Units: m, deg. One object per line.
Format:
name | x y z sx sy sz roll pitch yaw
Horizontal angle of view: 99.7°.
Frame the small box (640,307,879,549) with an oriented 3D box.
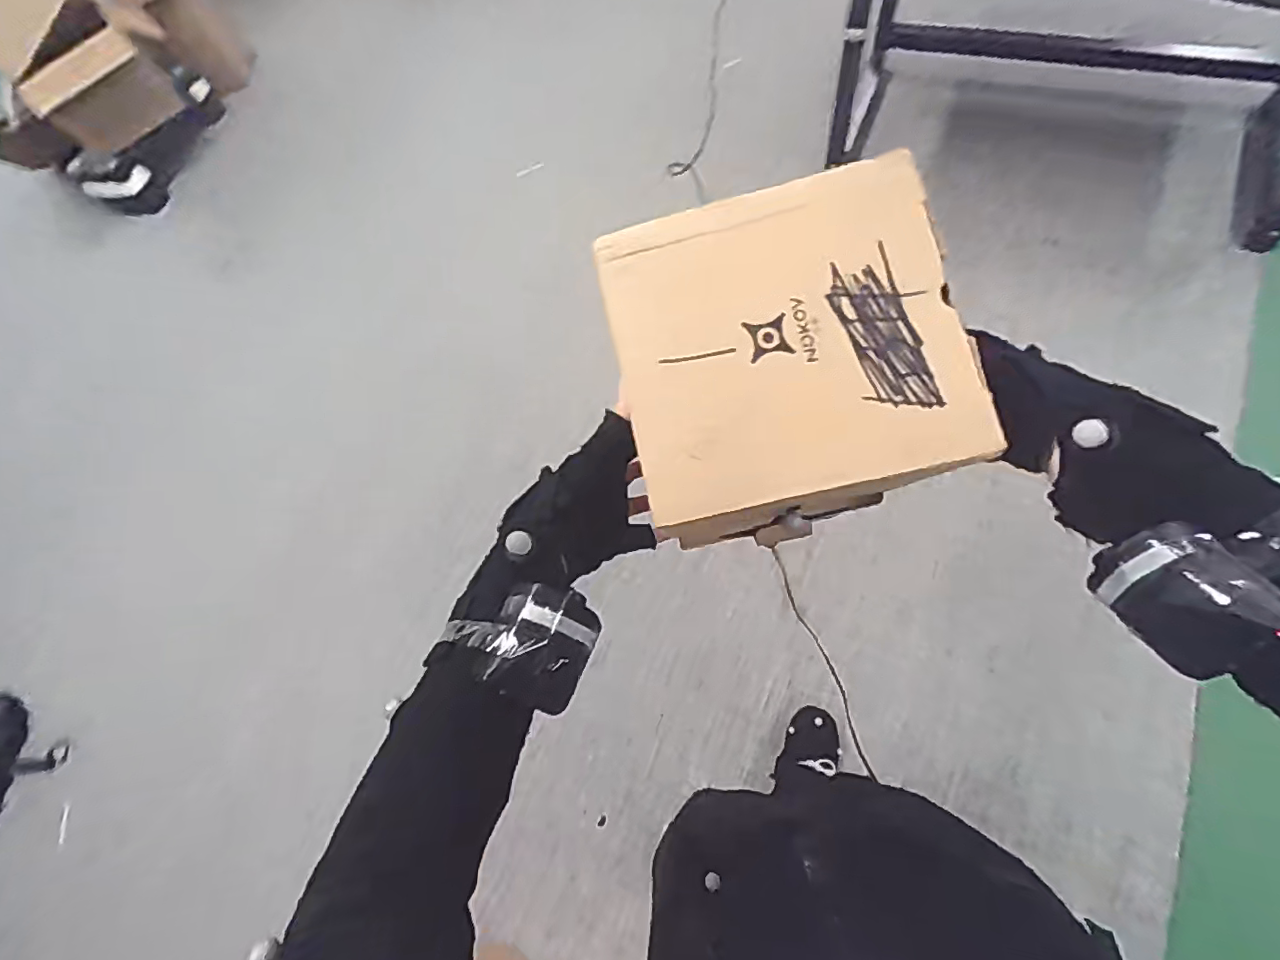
small box | 0.104 -0.035 0.523 0.168 0.176 0.179 -13 81 4
